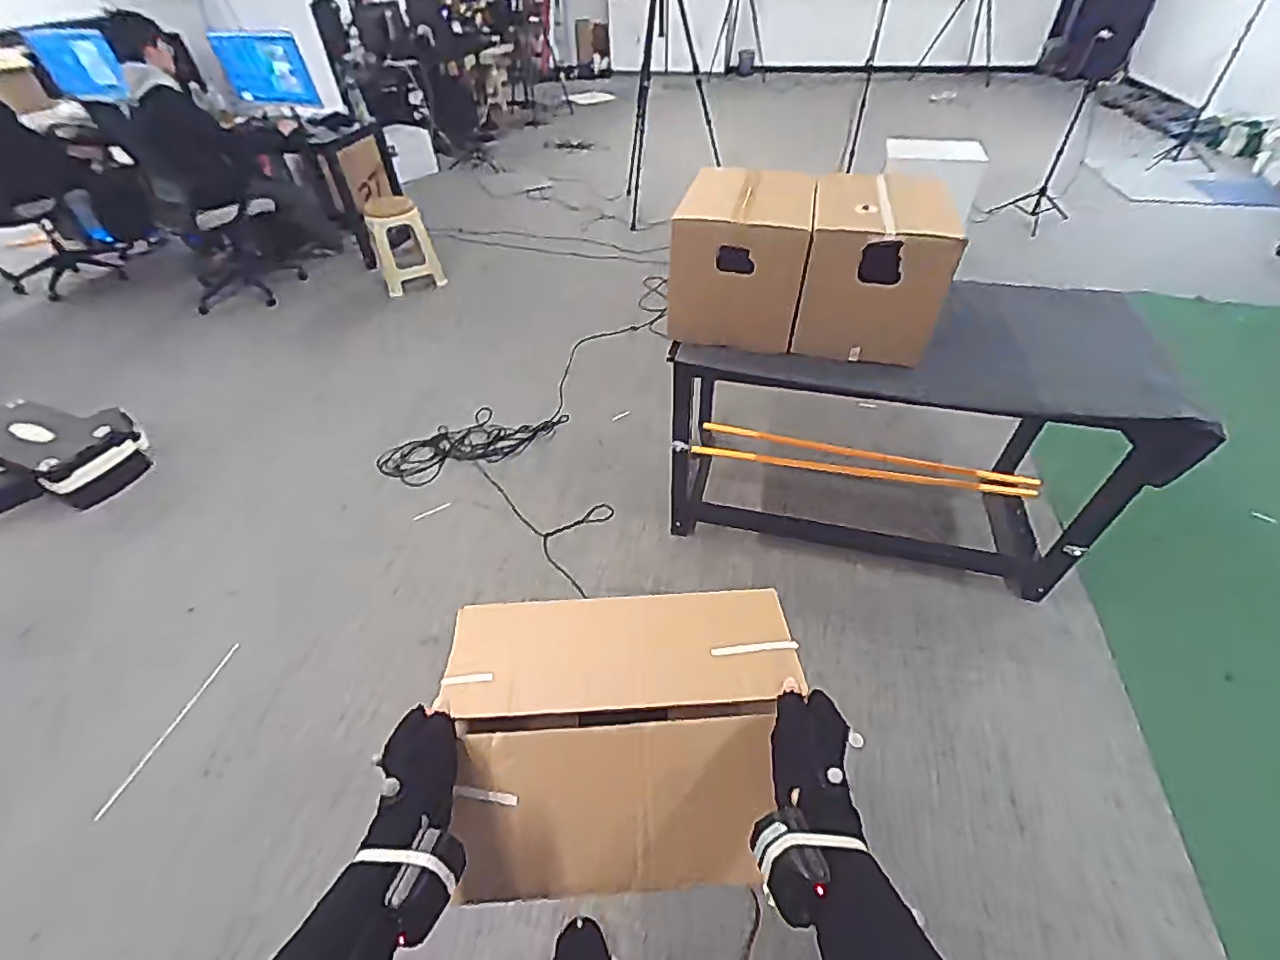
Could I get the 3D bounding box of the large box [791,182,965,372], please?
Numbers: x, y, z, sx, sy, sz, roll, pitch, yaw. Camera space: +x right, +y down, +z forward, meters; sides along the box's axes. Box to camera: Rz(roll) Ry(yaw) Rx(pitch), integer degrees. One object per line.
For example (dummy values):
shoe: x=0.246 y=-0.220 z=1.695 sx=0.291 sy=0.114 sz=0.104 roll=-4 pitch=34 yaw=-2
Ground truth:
large box: x=0.573 y=-0.527 z=1.384 sx=0.320 sy=0.320 sz=0.408 roll=8 pitch=46 yaw=12
